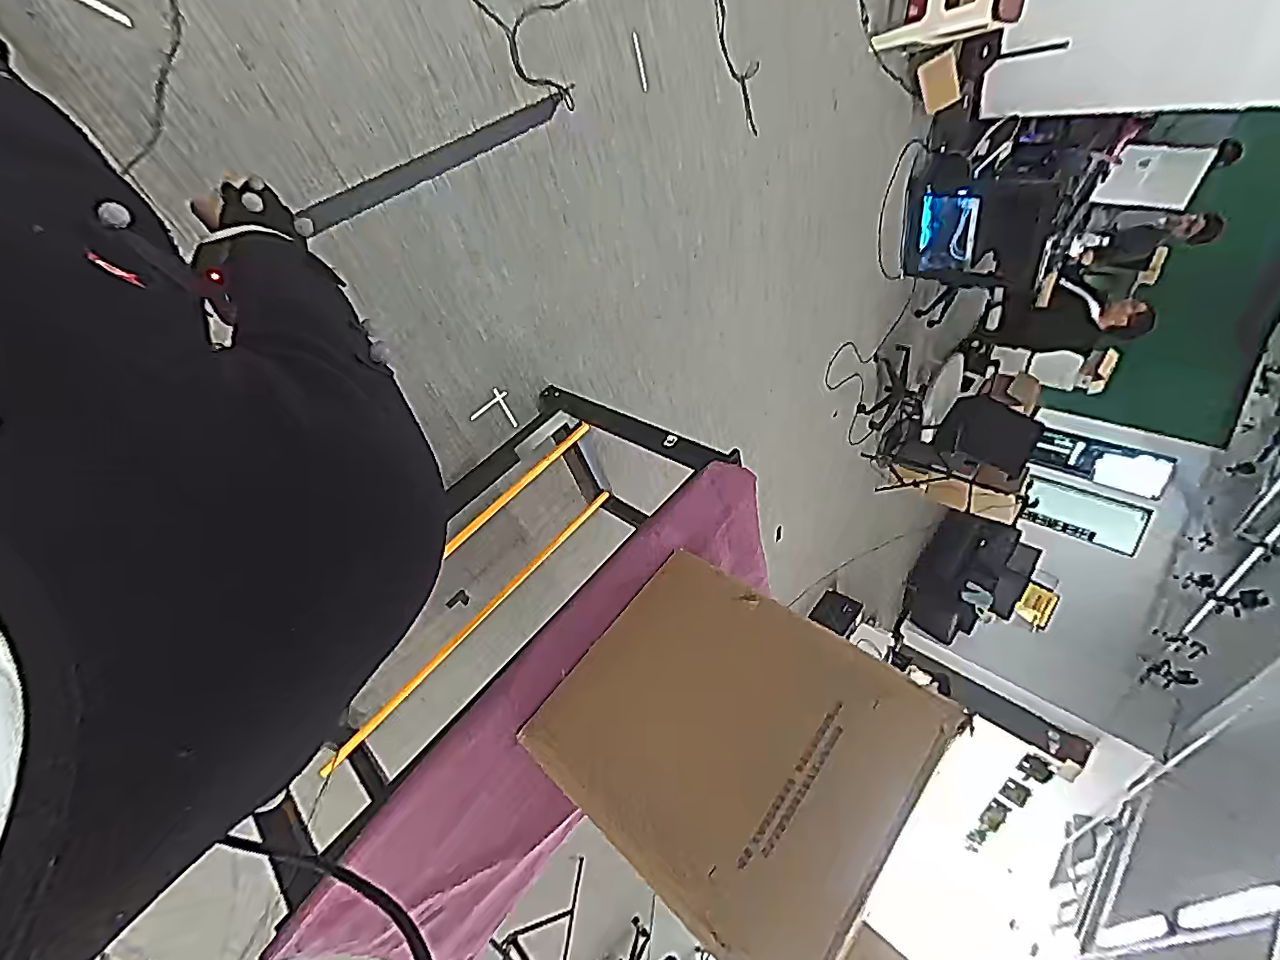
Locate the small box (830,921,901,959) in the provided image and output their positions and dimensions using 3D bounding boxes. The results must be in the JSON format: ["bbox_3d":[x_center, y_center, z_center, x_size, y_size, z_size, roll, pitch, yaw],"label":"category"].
[{"bbox_3d":[0.385,0.874,0.886,0.168,0.176,0.179,-45,139,-24],"label":"small box"}]
